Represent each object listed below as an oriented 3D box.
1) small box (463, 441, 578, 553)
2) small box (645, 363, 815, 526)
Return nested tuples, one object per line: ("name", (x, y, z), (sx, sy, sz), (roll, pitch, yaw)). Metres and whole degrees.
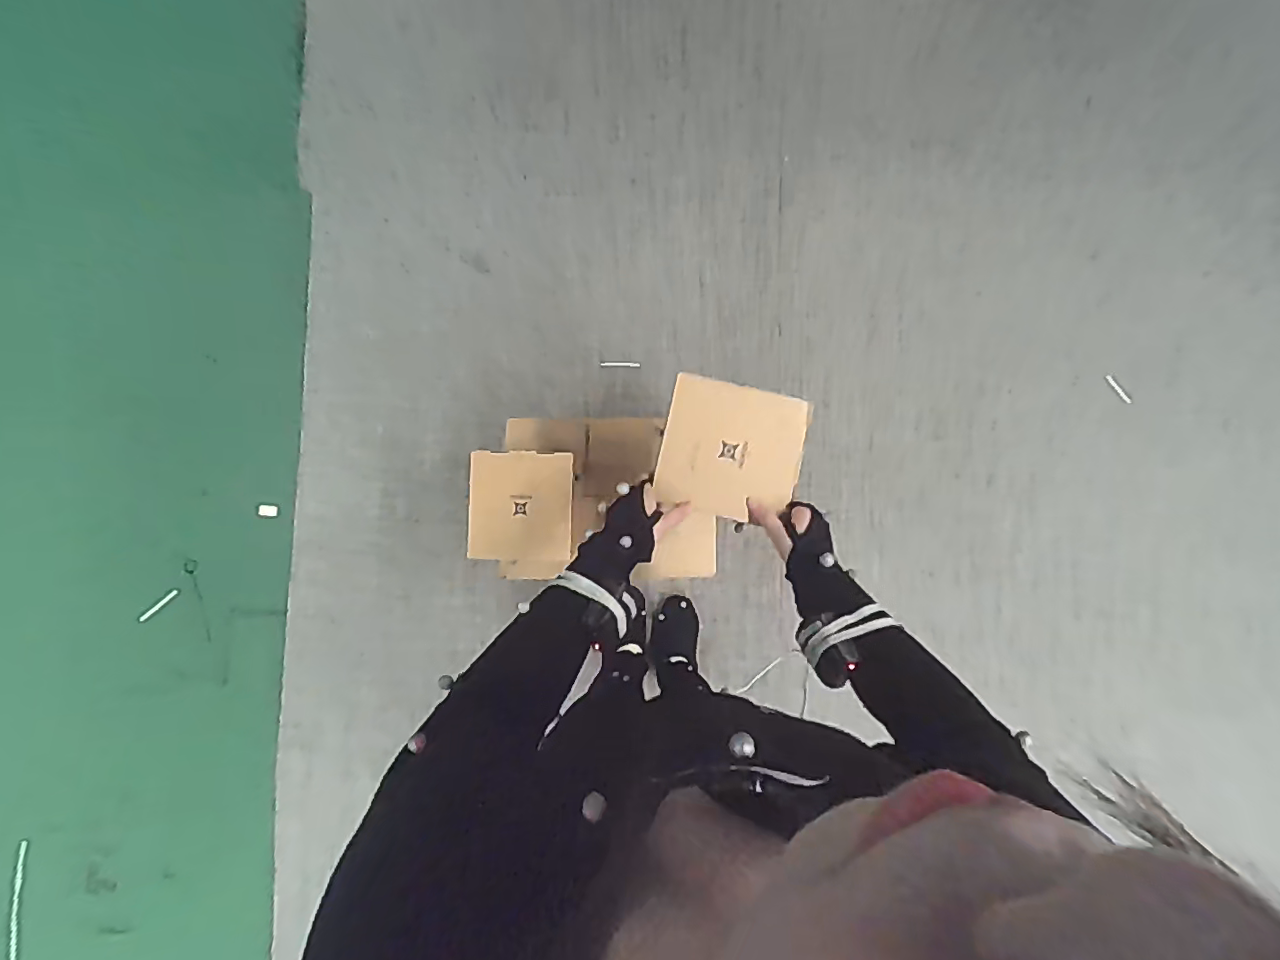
("small box", (-0.198, 0.029, 0.941), (0.168, 0.176, 0.179), (2, 87, -2))
("small box", (0.110, -0.045, 0.739), (0.179, 0.176, 0.168), (15, 90, 0))
